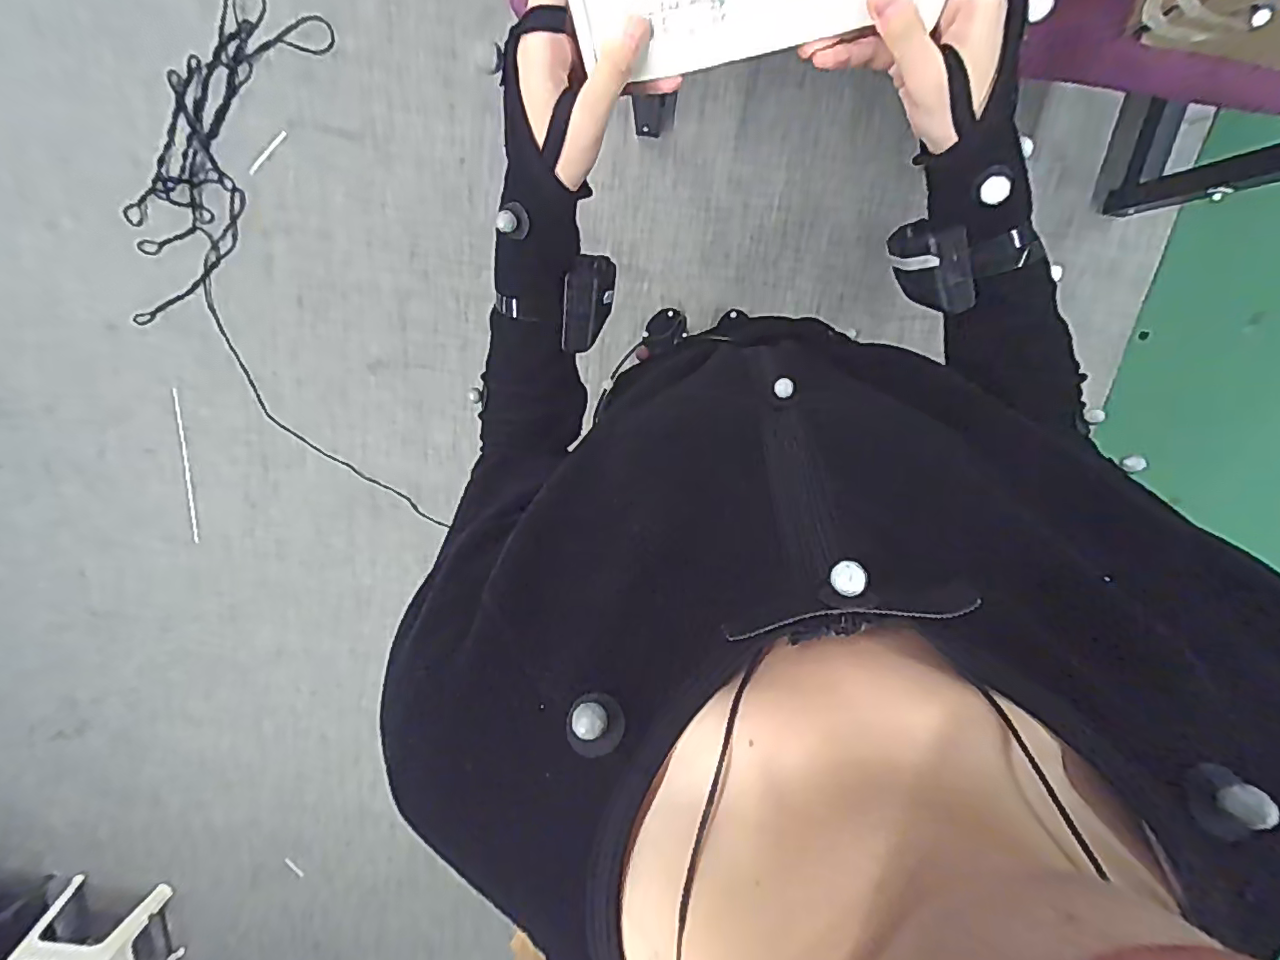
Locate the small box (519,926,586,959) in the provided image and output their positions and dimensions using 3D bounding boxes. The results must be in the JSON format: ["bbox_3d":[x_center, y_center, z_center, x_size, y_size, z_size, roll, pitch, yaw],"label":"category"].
[{"bbox_3d":[-0.266,1.432,1.536,0.168,0.176,0.179,26,107,-5],"label":"small box"}]
